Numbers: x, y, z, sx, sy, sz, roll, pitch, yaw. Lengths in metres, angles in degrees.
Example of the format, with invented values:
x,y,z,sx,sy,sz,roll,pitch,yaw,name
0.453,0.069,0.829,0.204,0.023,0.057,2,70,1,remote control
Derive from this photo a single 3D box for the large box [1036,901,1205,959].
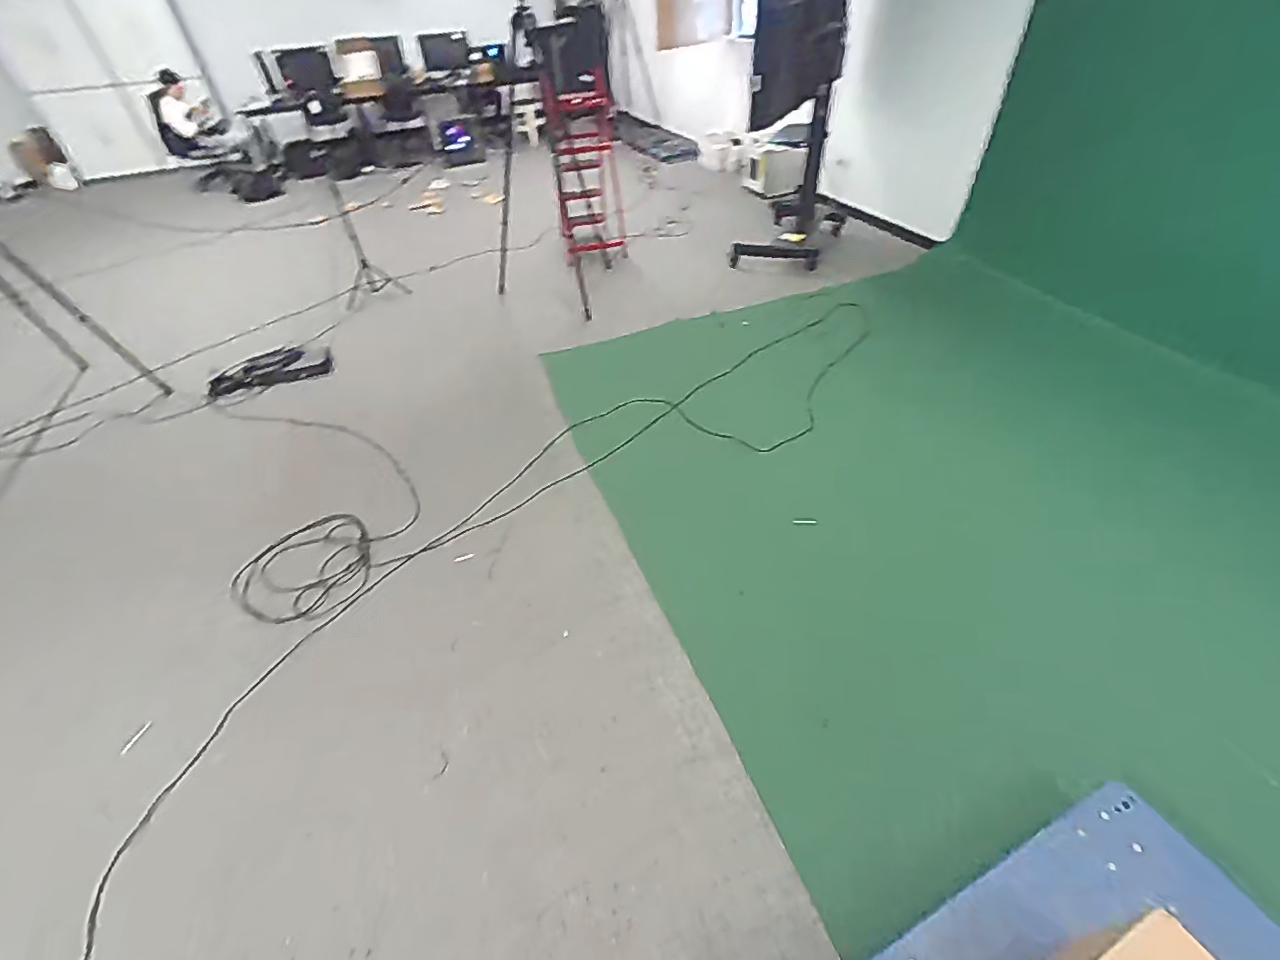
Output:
x,y,z,sx,sy,sz,roll,pitch,yaw,name
0.744,0.968,0.841,0.408,0.320,0.320,-20,45,-17,large box
